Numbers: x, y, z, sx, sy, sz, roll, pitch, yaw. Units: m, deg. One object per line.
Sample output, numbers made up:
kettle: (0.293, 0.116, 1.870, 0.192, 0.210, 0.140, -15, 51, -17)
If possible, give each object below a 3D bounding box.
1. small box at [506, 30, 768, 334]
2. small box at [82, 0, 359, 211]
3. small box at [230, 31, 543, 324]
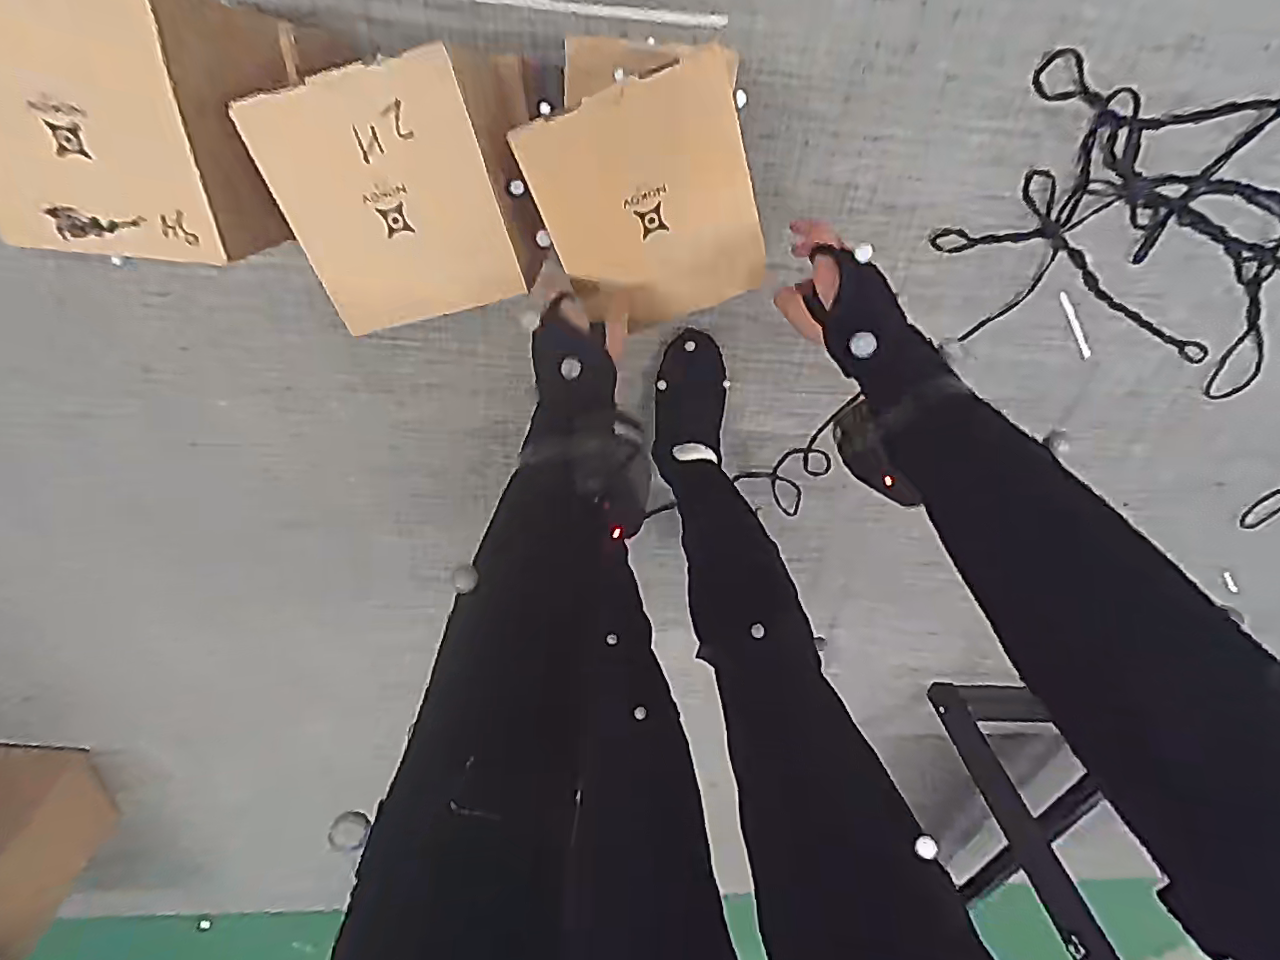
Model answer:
small box: (0.004, -0.264, 0.493, 0.168, 0.176, 0.179, -18, 122, 9)
small box: (-0.405, -0.394, 0.579, 0.179, 0.176, 0.168, 3, 123, -4)
small box: (-0.194, -0.264, 0.483, 0.168, 0.176, 0.179, -12, 123, 5)
